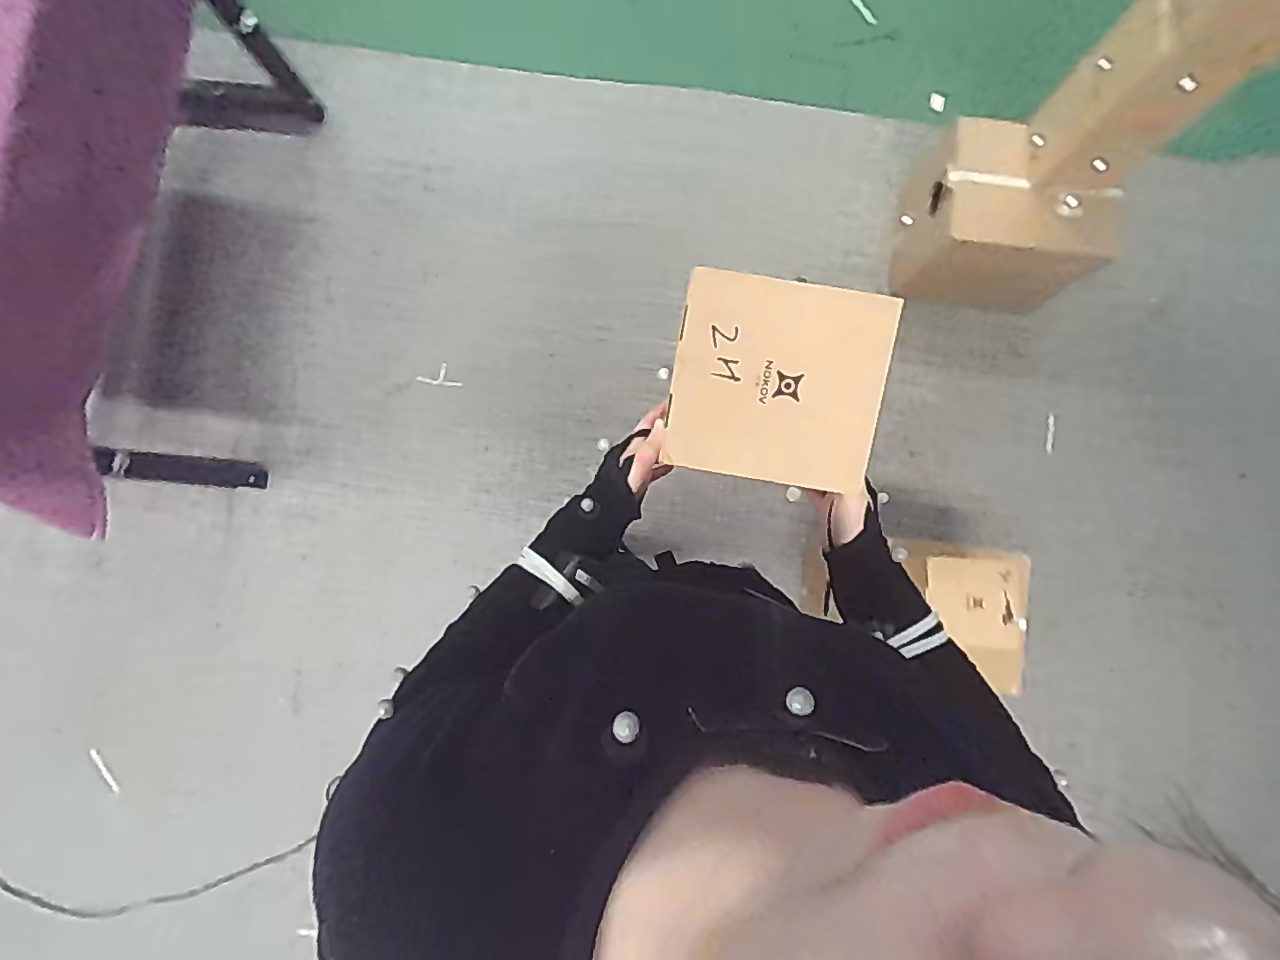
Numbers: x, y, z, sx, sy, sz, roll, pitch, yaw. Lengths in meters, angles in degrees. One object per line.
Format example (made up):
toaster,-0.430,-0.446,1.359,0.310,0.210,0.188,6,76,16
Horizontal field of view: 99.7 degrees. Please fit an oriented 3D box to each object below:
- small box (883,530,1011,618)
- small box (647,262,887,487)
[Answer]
small box,0.613,0.189,1.105,0.179,0.176,0.168,0,83,2
small box,0.107,-0.097,0.528,0.179,0.176,0.168,9,98,2
